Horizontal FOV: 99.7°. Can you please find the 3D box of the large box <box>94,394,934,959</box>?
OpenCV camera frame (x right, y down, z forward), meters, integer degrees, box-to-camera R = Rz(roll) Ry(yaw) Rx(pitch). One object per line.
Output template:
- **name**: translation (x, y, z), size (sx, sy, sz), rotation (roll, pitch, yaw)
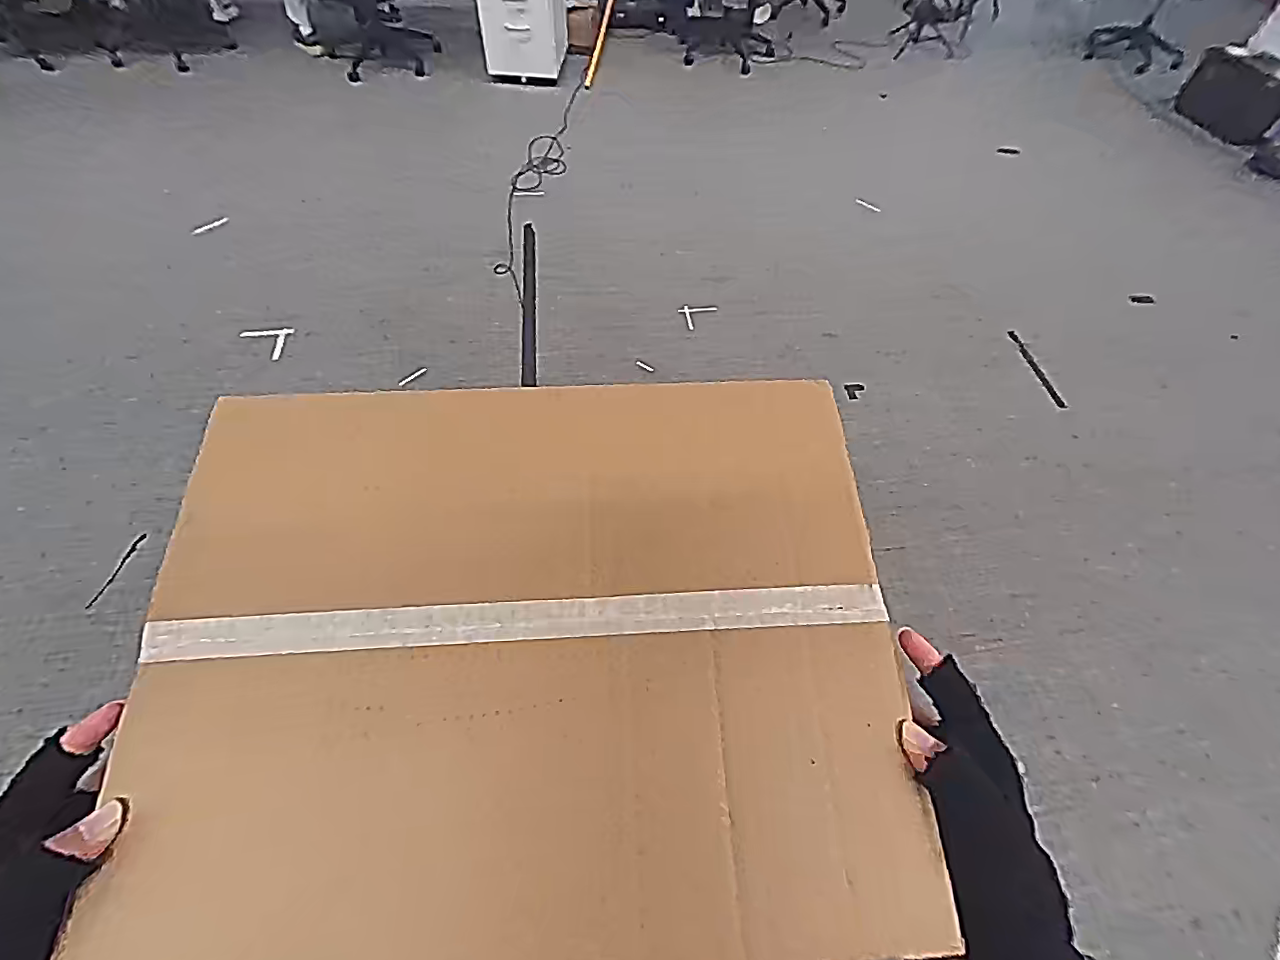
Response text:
- **large box**: translation (-0.066, 0.148, 0.450), size (0.408, 0.320, 0.320), rotation (-2, 66, -3)
